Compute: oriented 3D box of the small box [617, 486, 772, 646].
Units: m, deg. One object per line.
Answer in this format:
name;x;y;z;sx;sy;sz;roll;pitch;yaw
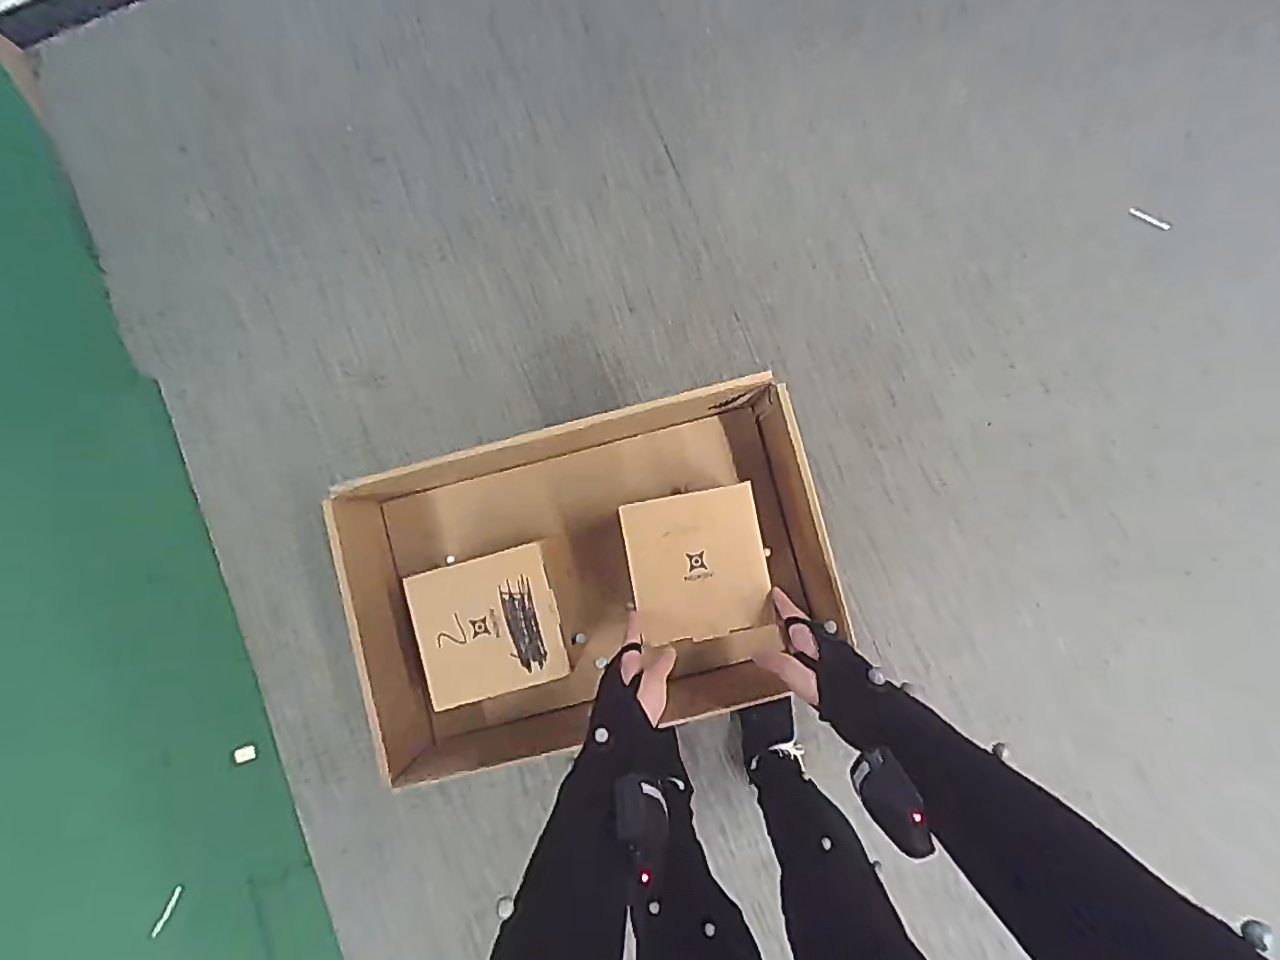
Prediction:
small box;0.070;0.107;0.736;0.168;0.176;0.179;-11;87;1
